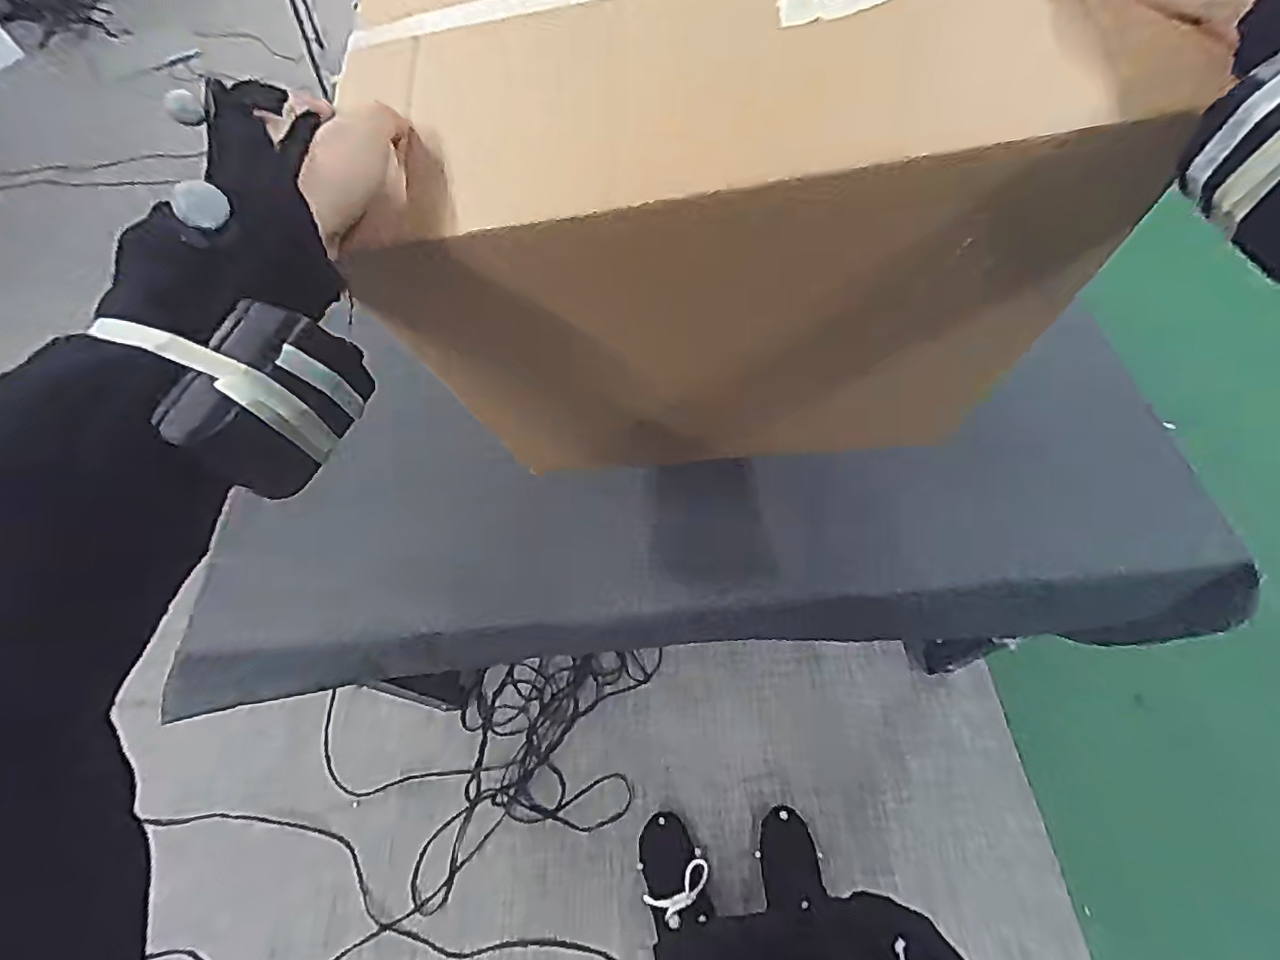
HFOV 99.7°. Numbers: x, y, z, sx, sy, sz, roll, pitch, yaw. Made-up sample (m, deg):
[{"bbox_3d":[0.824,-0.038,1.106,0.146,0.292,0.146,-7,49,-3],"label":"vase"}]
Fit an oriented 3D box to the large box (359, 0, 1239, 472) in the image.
[{"bbox_3d":[0.069,-0.216,0.438,0.408,0.320,0.320,-4,69,8],"label":"large box"}]
